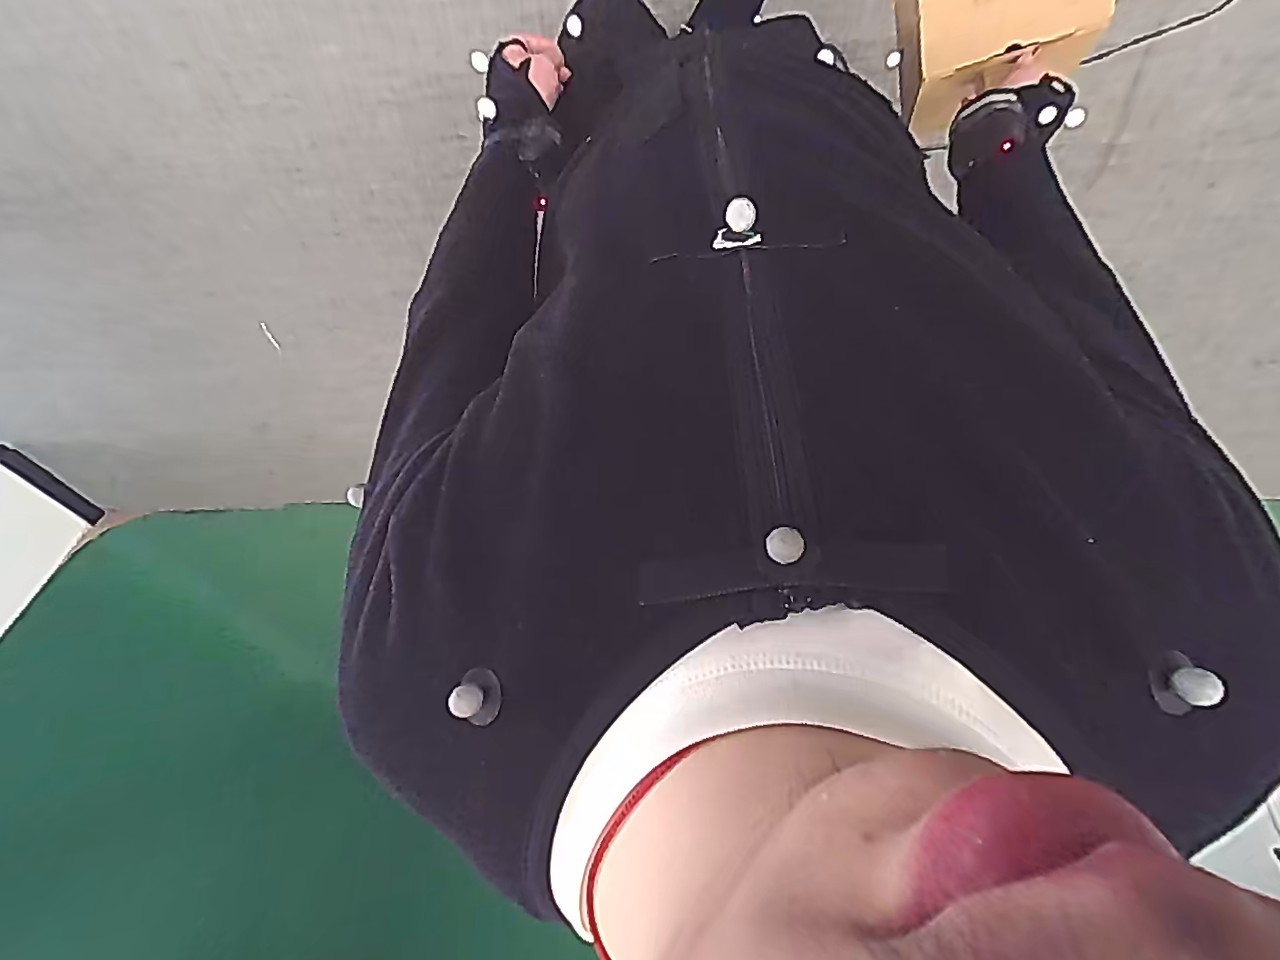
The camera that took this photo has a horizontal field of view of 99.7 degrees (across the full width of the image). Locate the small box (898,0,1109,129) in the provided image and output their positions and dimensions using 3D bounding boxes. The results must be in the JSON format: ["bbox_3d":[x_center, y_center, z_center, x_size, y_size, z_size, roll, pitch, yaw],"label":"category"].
[{"bbox_3d":[0.391,-0.529,0.607,0.168,0.176,0.179,-4,98,20],"label":"small box"}]

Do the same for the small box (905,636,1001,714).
[{"bbox_3d":[0.894,0.564,1.568,0.168,0.176,0.179,3,141,3],"label":"small box"}]
